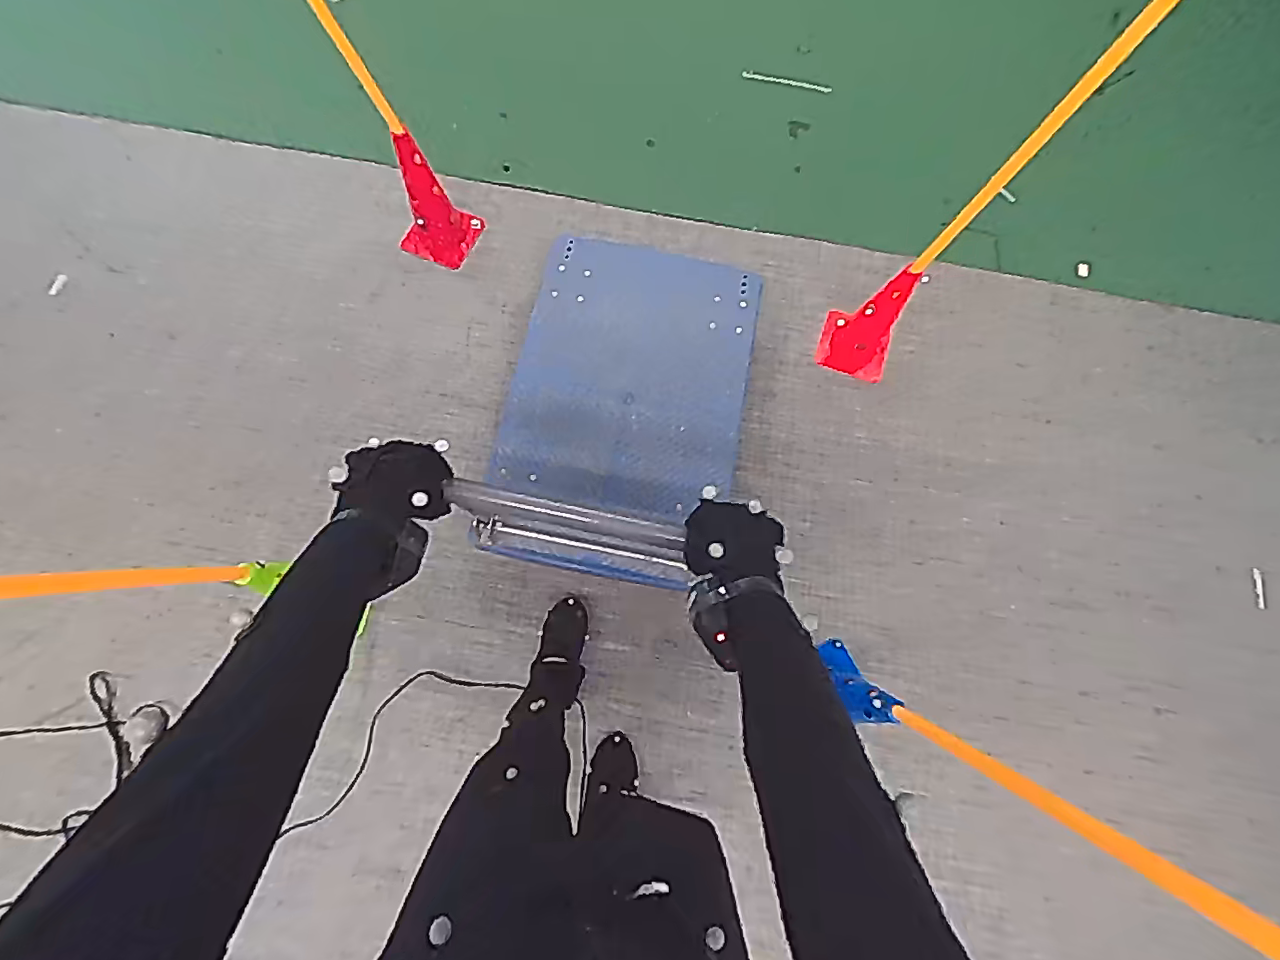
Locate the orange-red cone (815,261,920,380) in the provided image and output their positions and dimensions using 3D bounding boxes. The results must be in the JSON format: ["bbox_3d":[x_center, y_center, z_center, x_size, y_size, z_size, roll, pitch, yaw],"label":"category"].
[{"bbox_3d":[0.642,-0.454,1.450,0.198,0.360,0.199,21,74,4],"label":"orange-red cone"}]
